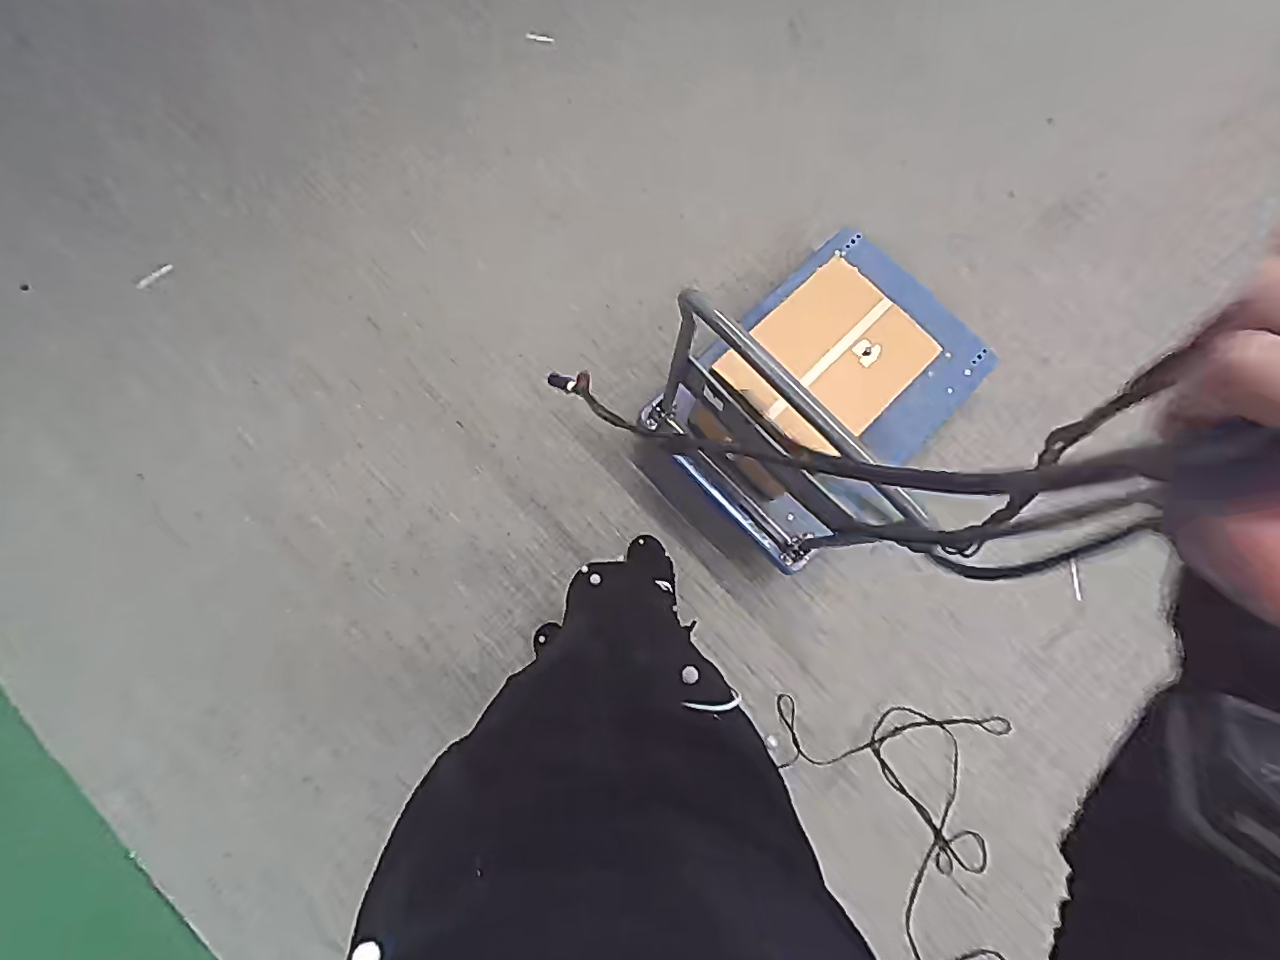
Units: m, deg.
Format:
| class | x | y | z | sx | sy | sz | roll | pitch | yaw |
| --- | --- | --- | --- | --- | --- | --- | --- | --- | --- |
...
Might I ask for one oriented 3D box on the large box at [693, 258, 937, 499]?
| class | x | y | z | sx | sy | sz | roll | pitch | yaw |
| --- | --- | --- | --- | --- | --- | --- | --- | --- | --- |
| large box | 0.387 | -0.220 | 1.283 | 0.408 | 0.320 | 0.320 | -43 | 84 | -12 |
